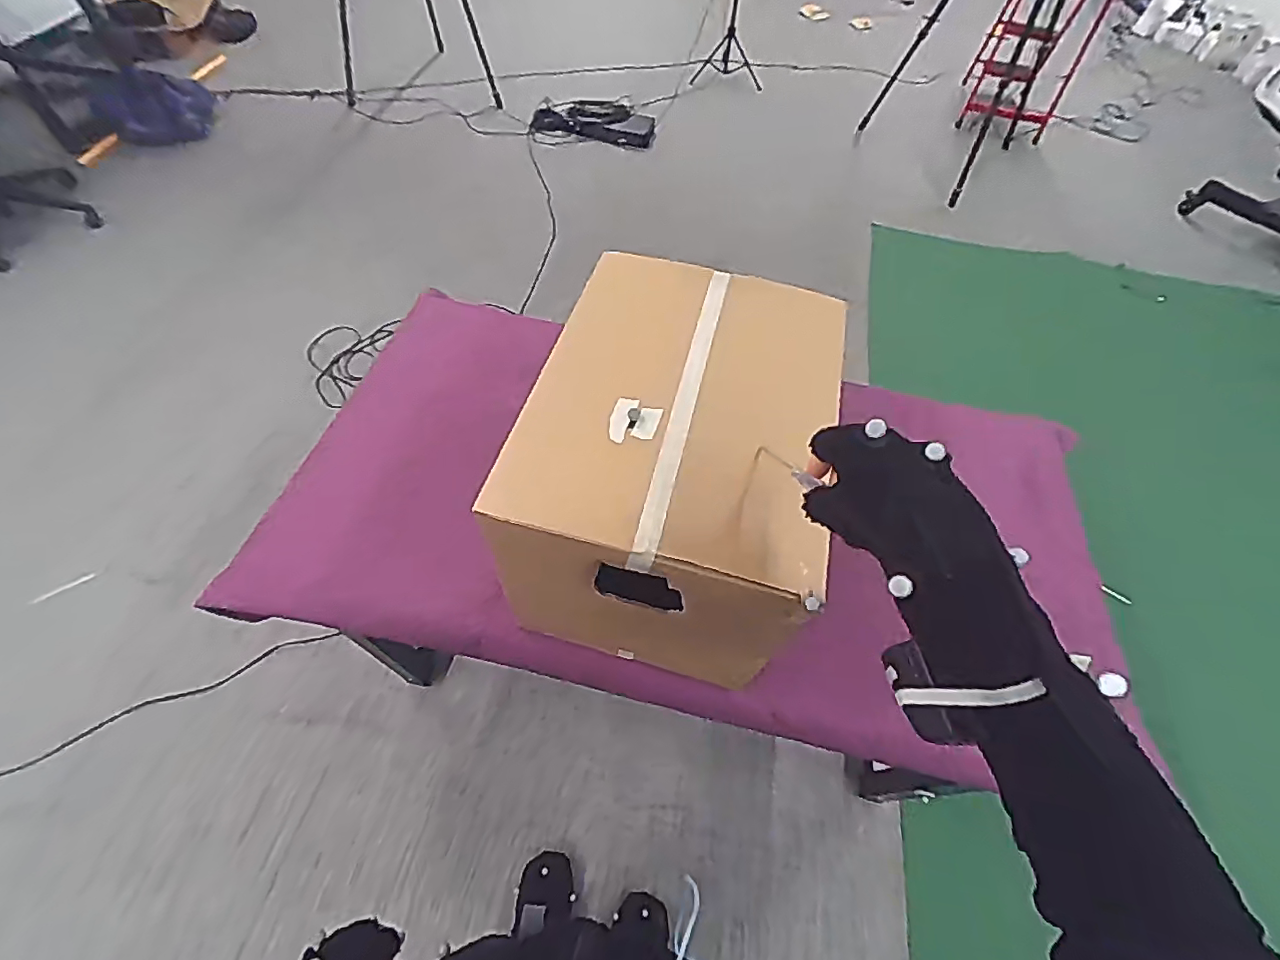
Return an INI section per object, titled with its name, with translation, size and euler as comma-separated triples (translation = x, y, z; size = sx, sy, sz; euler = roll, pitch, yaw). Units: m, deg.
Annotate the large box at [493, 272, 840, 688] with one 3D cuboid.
[large box]
translation = 0.047, 0.003, 0.712
size = 0.320, 0.320, 0.408
euler = 14, 57, 6
